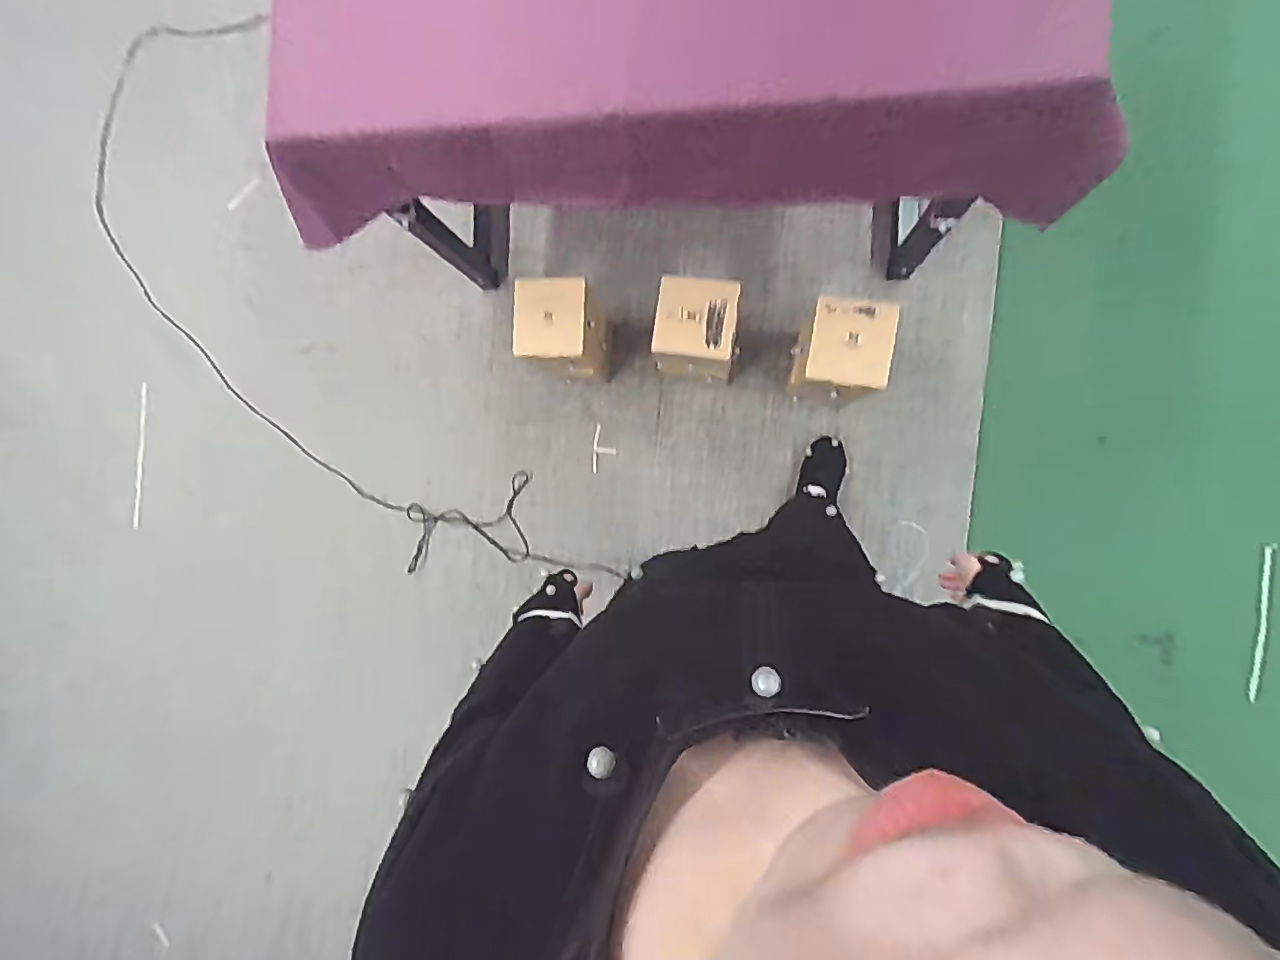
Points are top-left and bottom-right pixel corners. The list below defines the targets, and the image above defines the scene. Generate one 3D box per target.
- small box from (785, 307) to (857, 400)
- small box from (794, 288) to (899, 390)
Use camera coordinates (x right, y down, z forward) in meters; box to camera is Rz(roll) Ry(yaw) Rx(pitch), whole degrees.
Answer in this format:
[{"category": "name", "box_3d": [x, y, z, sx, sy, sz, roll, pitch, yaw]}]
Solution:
[{"category": "small box", "box_3d": [0.466, -0.308, 1.351, 0.168, 0.176, 0.179, 14, 92, 8]}, {"category": "small box", "box_3d": [0.442, -0.301, 1.186, 0.168, 0.176, 0.179, 10, 93, 7]}]
